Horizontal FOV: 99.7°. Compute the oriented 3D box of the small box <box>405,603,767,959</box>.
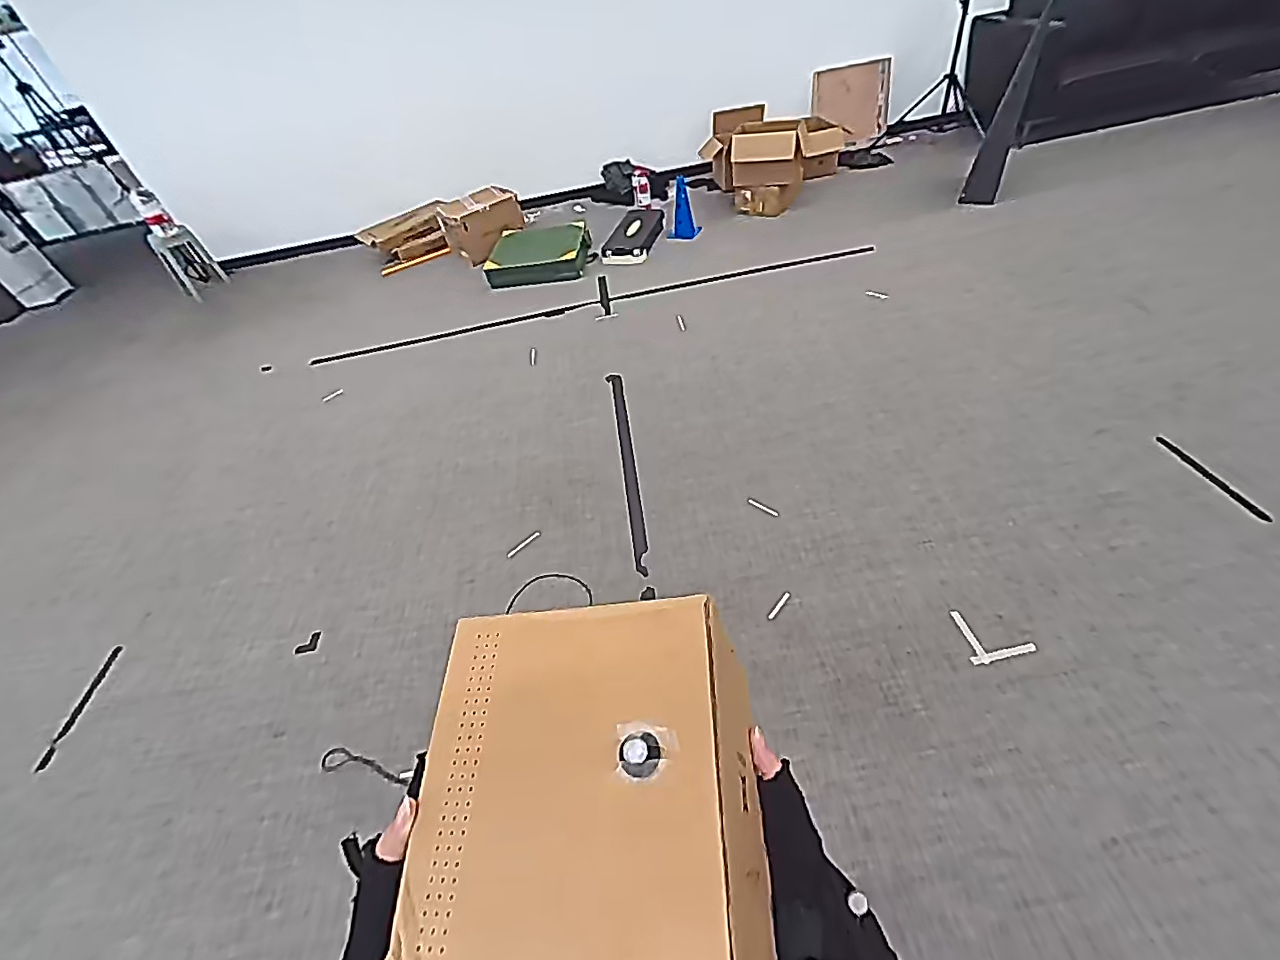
[{"bbox_3d":[-0.020,0.199,0.350,0.176,0.168,0.179,-9,52,14],"label":"small box"}]
